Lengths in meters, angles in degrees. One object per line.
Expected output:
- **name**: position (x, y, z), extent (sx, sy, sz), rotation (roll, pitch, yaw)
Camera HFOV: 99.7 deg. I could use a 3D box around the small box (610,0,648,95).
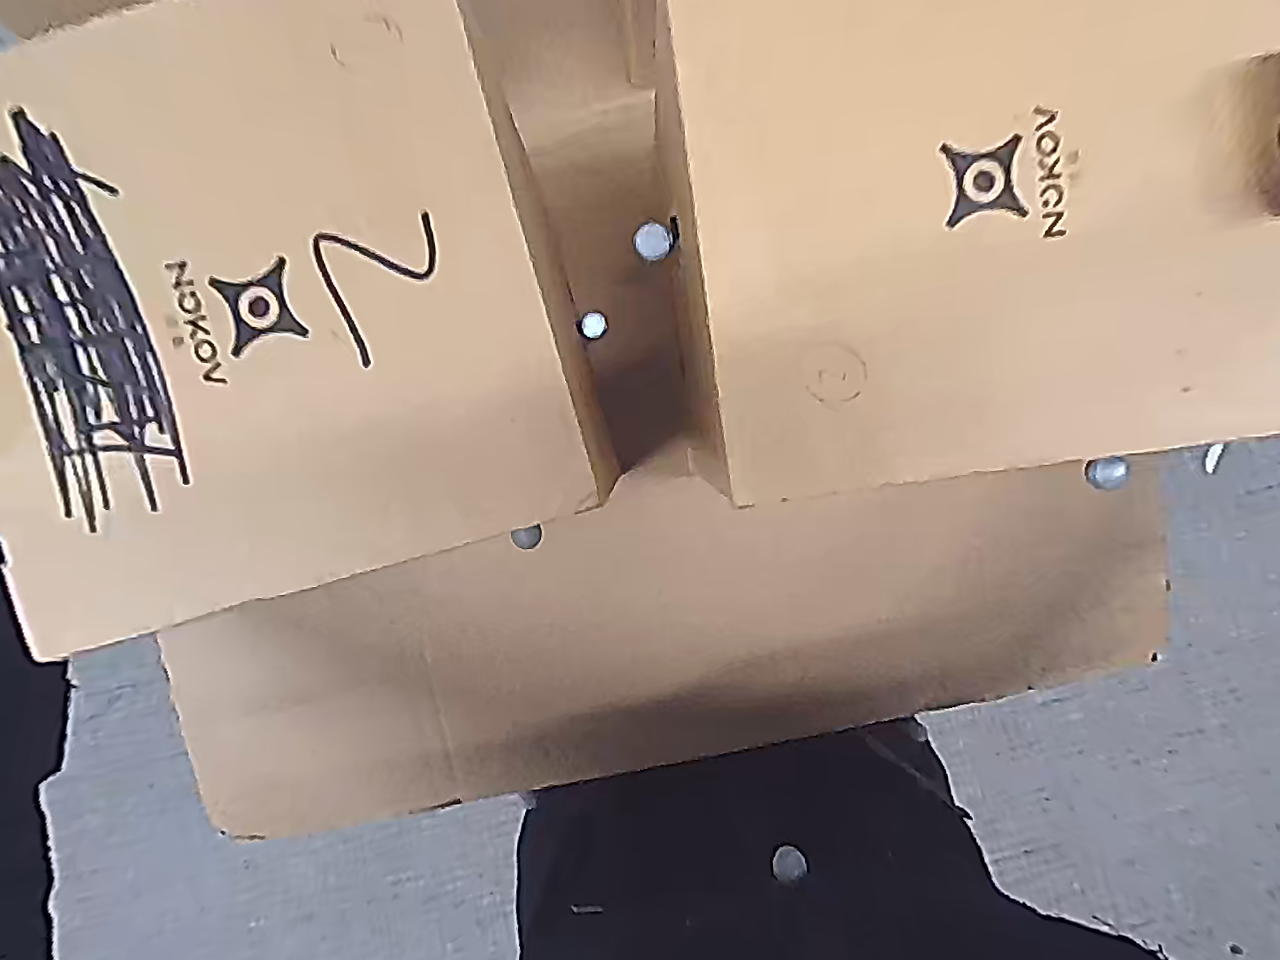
- **small box**: position (0.061, -0.331, 0.255), extent (0.179, 0.176, 0.168), rotation (-11, 82, 2)
